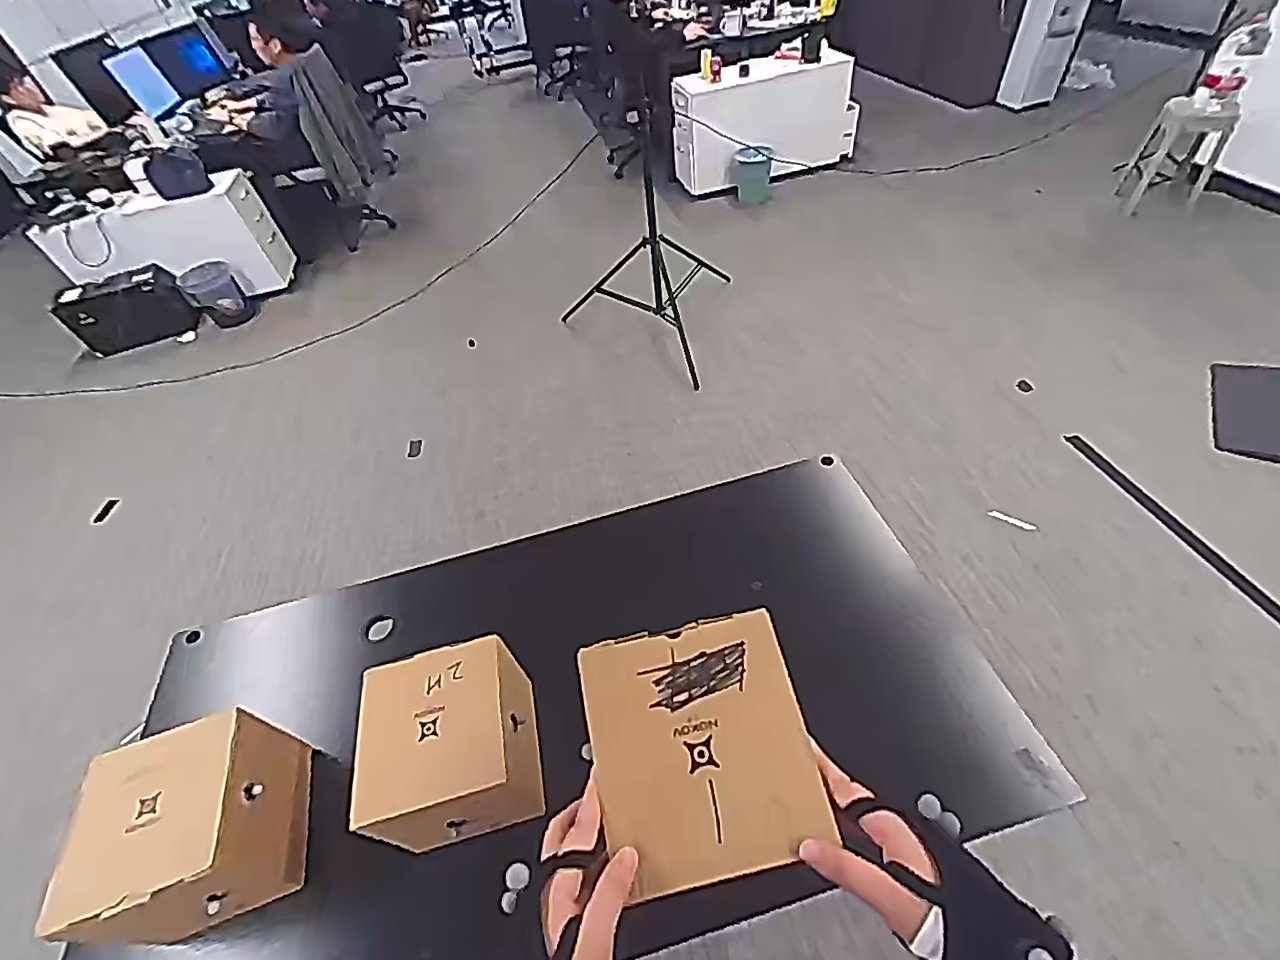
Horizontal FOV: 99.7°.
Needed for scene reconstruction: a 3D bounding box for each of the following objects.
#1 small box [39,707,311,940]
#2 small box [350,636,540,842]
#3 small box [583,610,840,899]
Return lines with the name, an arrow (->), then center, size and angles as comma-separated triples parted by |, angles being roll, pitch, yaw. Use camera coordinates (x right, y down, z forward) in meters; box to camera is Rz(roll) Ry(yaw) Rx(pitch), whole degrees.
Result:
small box -> -0.523, 0.410, 0.646 | 0.168, 0.176, 0.179 | -18, 48, -9
small box -> -0.228, 0.326, 0.672 | 0.168, 0.176, 0.179 | -14, 48, -5
small box -> 0.048, 0.237, 0.485 | 0.168, 0.176, 0.179 | -11, 63, -4
